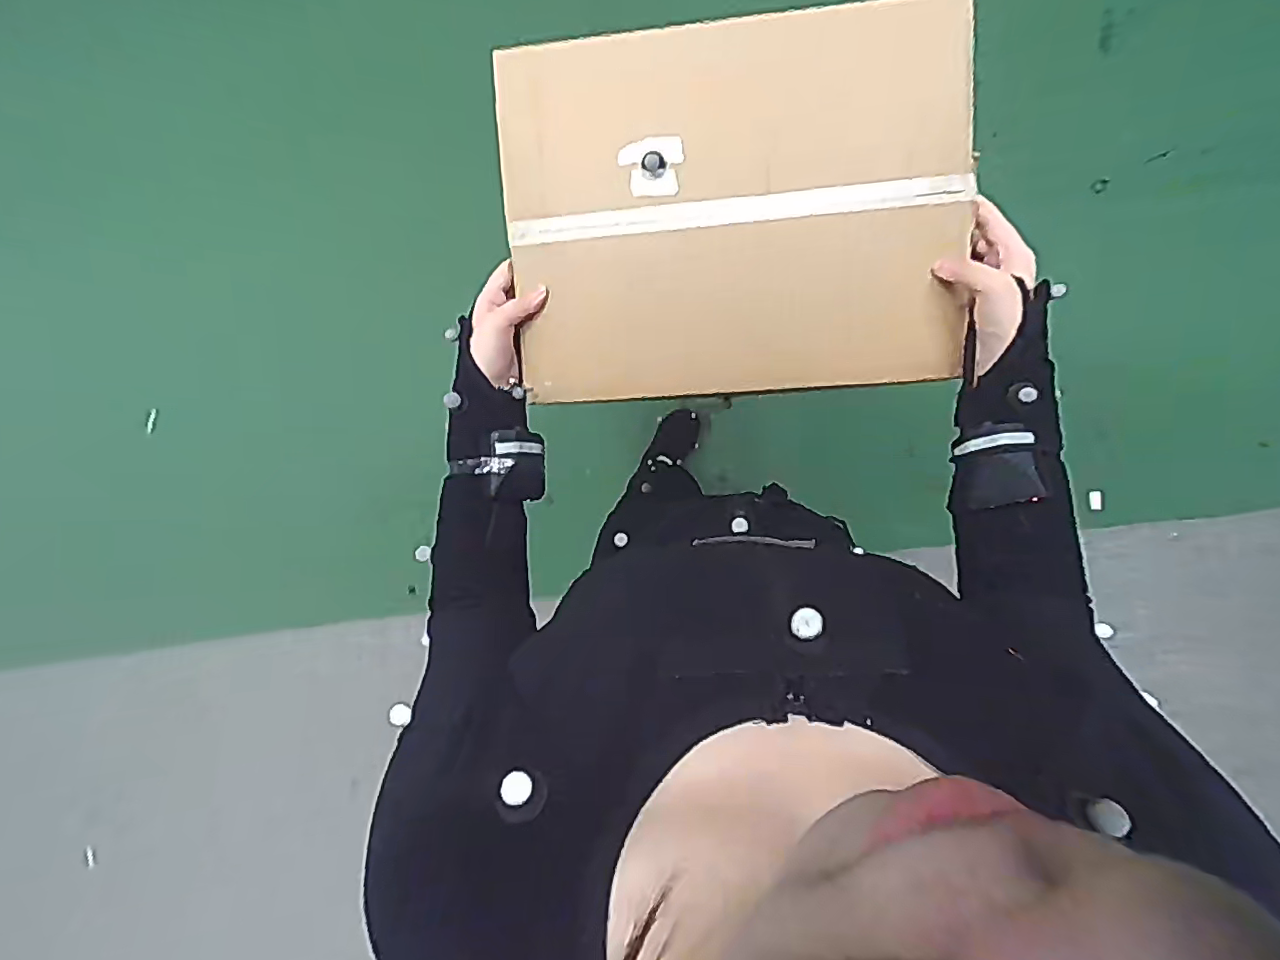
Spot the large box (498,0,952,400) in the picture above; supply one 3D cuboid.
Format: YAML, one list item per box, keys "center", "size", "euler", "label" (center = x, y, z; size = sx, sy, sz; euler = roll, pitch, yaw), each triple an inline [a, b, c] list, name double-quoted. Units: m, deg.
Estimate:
- center: [0.094, -0.267, 0.640]
  size: [0.408, 0.320, 0.320]
  euler: [-3, 98, 7]
  label: "large box"
